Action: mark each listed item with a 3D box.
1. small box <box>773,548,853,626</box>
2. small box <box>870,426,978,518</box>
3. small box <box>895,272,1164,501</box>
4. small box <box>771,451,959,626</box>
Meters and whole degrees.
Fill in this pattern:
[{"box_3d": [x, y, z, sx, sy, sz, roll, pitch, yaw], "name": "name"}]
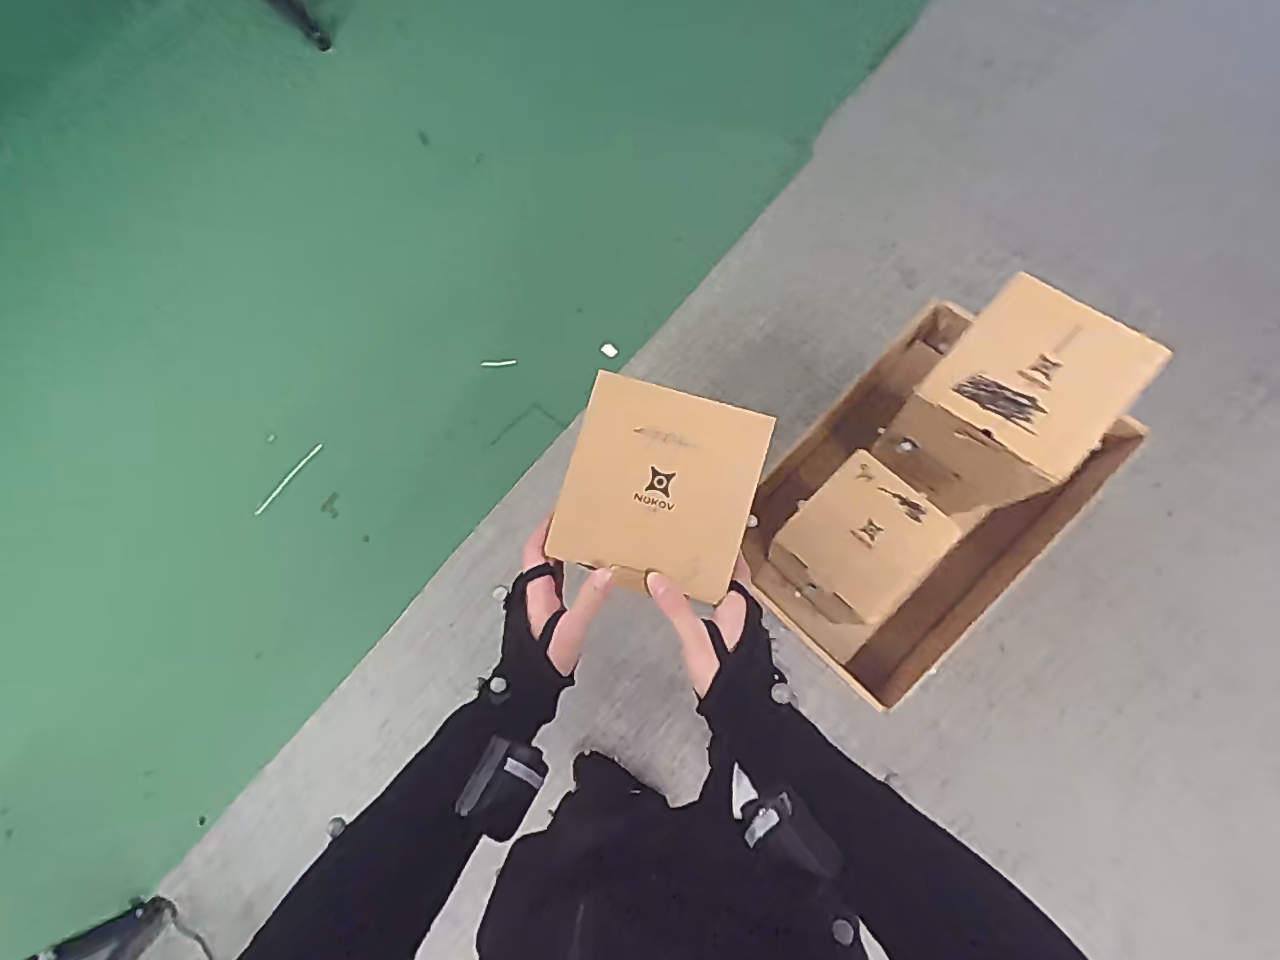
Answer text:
[{"box_3d": [0.345, 0.132, 0.937, 0.179, 0.176, 0.168, -45, 71, -2], "name": "small box"}, {"box_3d": [0.523, -0.047, 0.948, 0.168, 0.176, 0.179, 42, 91, 18], "name": "small box"}, {"box_3d": [0.428, -0.096, 0.637, 0.168, 0.176, 0.179, 40, 90, 18], "name": "small box"}, {"box_3d": [0.310, 0.092, 0.783, 0.179, 0.176, 0.168, -45, 72, -1], "name": "small box"}]
